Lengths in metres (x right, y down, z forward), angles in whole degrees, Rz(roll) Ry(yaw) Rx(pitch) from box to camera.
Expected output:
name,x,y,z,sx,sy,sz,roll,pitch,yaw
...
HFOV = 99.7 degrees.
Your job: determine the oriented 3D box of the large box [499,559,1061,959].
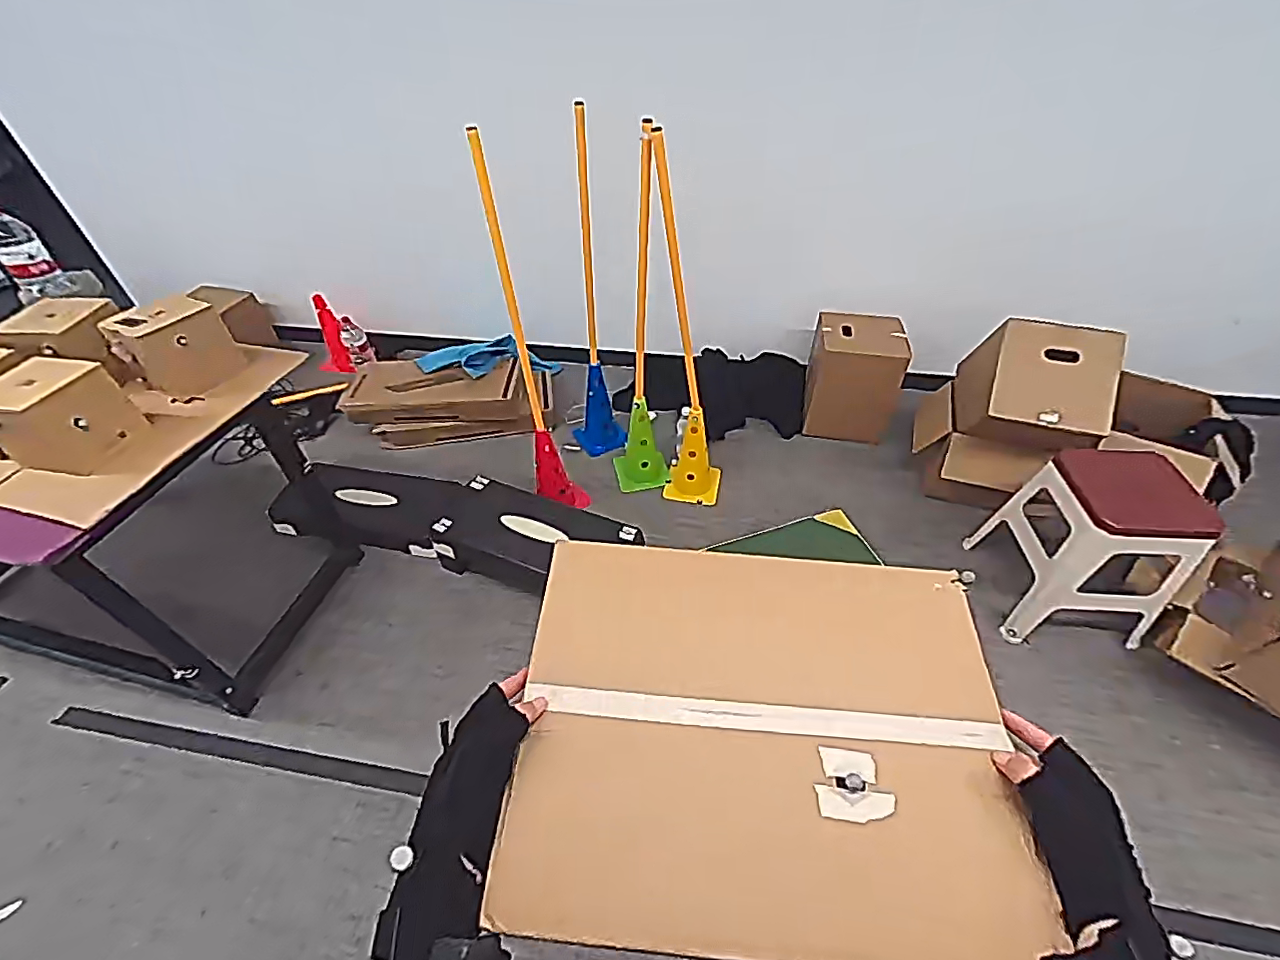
name,x,y,z,sx,sy,sz,roll,pitch,yaw
large box,0.102,0.305,0.583,0.408,0.320,0.320,4,53,2
